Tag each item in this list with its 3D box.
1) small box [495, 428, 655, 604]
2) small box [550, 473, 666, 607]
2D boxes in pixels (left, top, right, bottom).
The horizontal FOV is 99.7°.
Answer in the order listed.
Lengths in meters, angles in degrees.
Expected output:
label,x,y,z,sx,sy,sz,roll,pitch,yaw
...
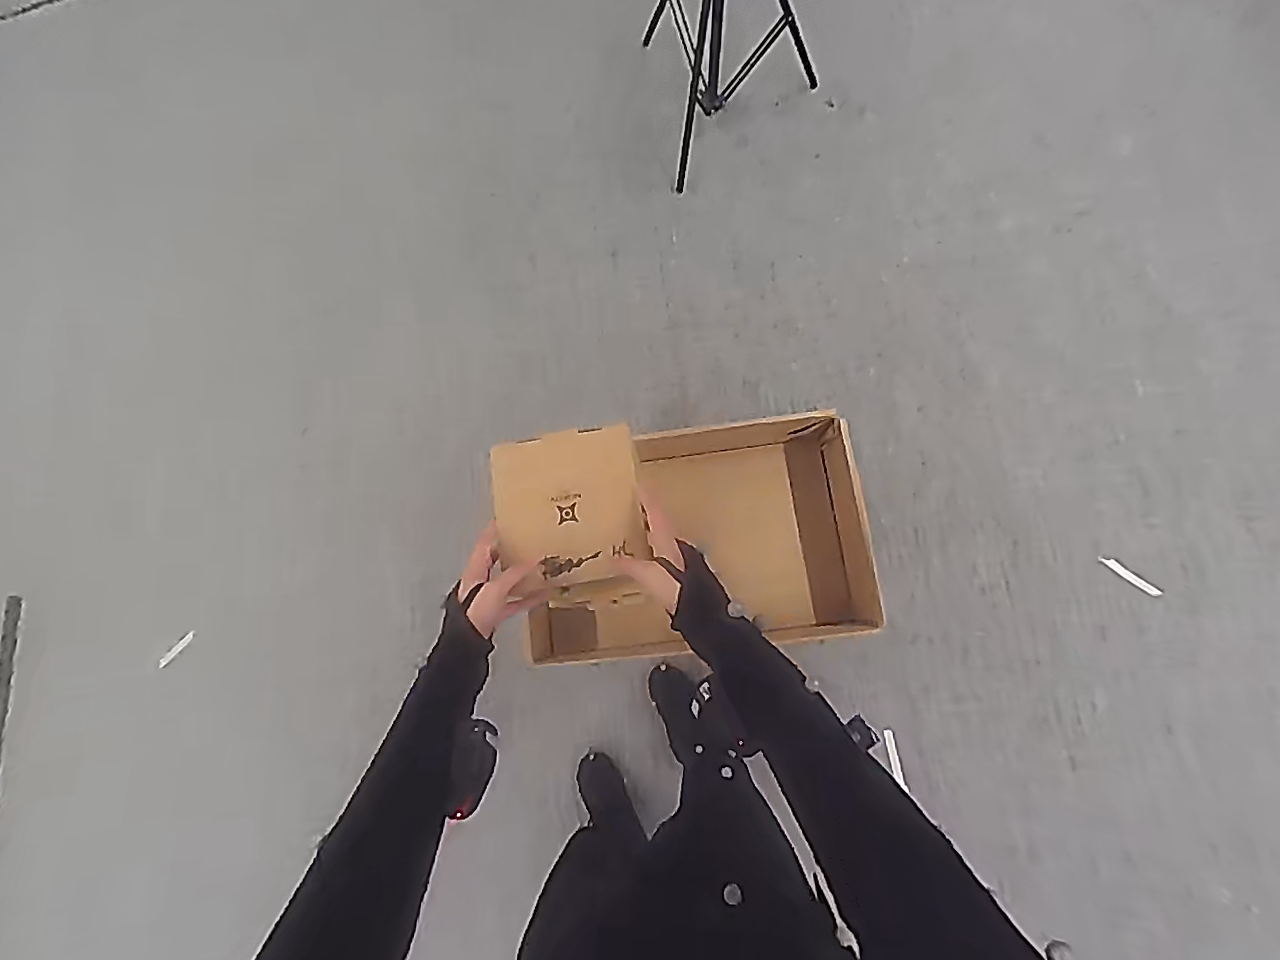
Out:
label,x,y,z,sx,sy,sz,roll,pitch,yaw
small box,-0.075,0.055,0.684,0.168,0.176,0.179,-9,74,2
small box,-0.054,0.103,0.851,0.168,0.176,0.179,-10,77,3
